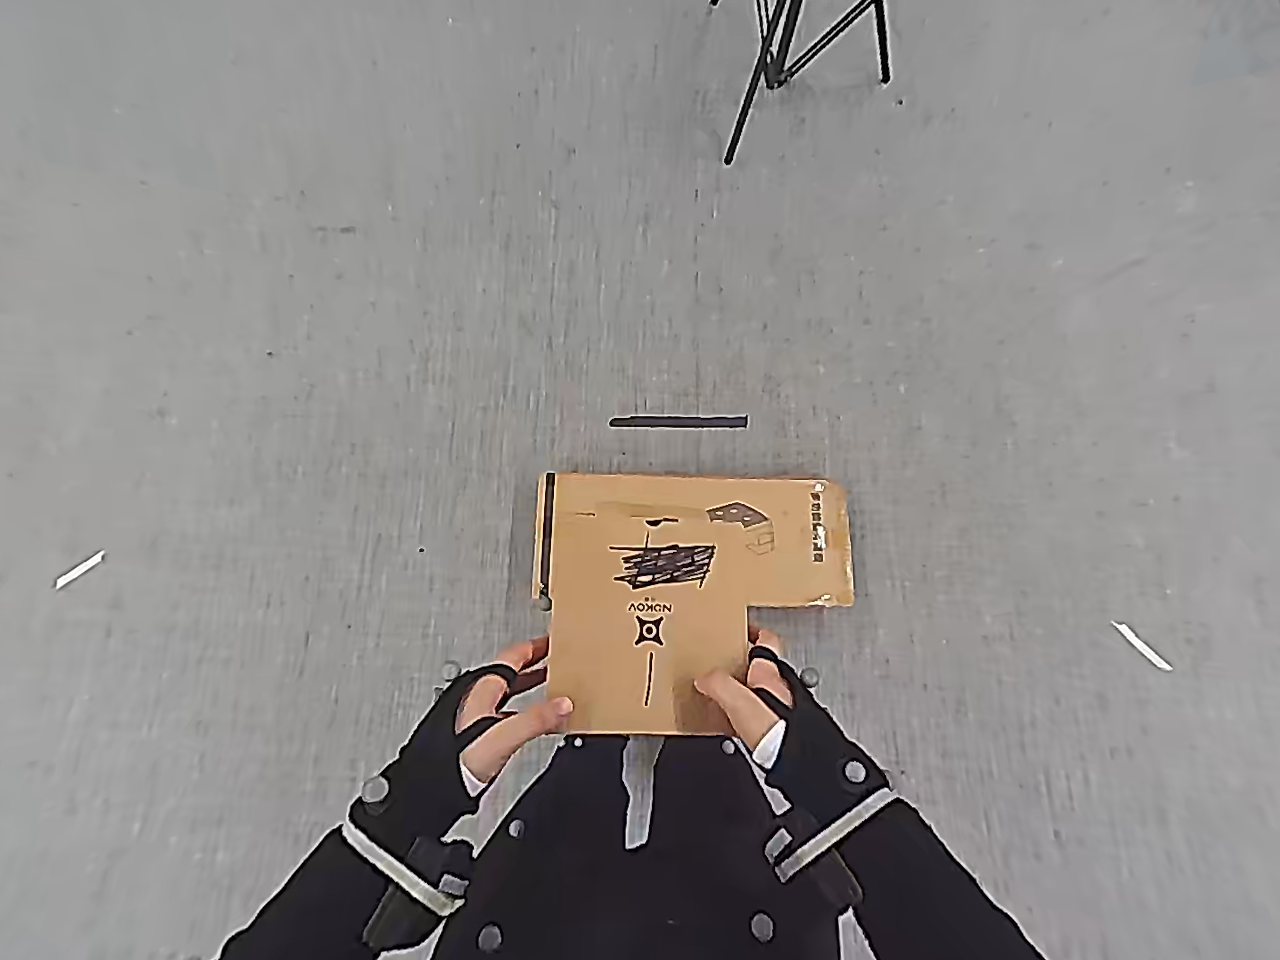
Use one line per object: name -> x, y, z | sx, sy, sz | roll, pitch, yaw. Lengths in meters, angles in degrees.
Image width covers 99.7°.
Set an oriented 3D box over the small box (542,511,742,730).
small box -> -0.004, 0.140, 0.533 | 0.168, 0.176, 0.179 | 4, 72, -6
